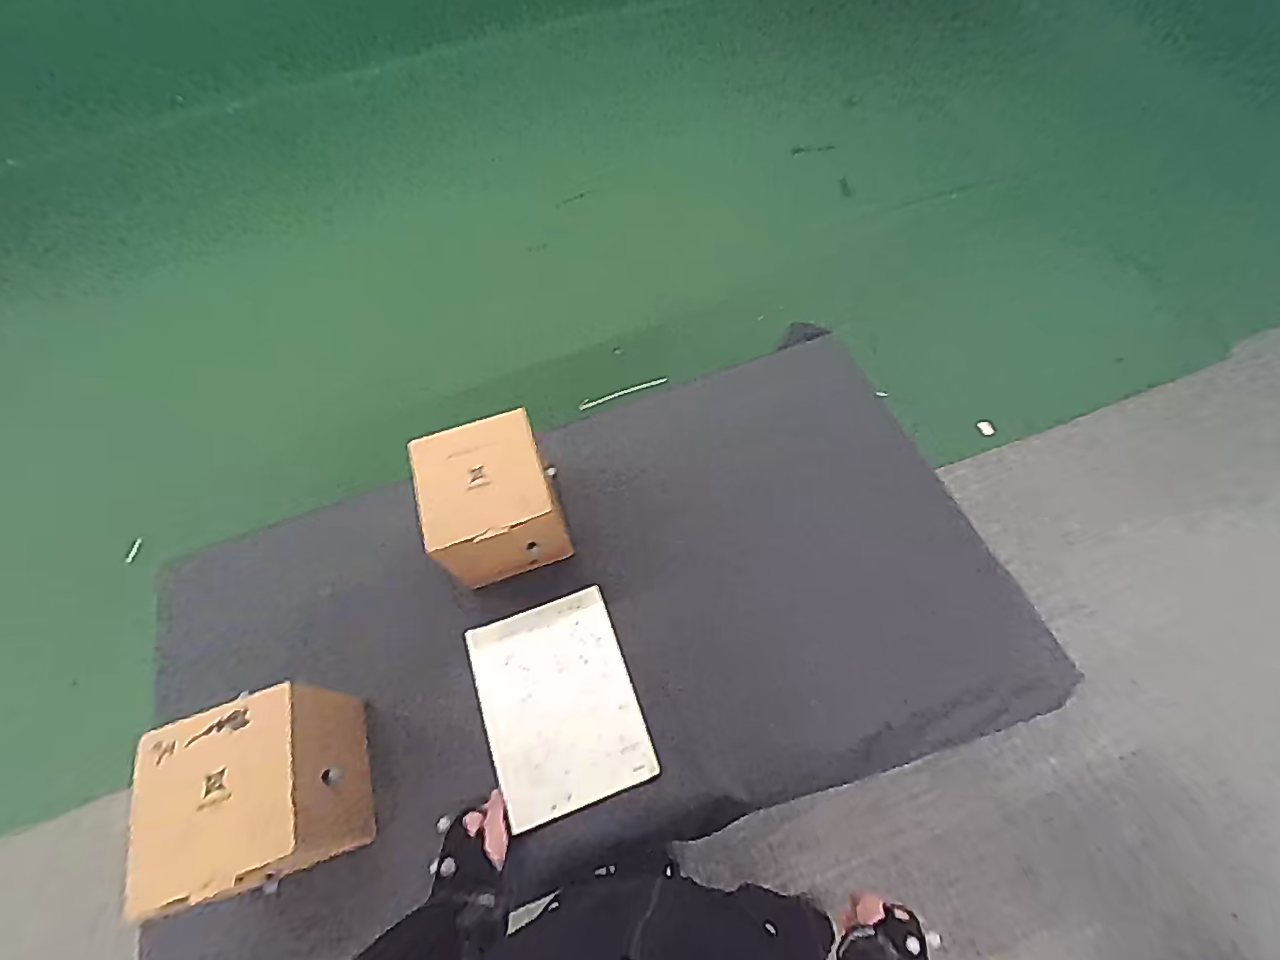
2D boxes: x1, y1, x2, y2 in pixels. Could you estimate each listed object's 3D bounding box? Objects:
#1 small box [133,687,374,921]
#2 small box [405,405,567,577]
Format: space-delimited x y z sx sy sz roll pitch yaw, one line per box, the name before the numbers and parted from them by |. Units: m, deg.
small box | -0.437 0.365 0.638 0.168 0.176 0.179 -19 63 -7
small box | -0.213 0.027 0.780 0.168 0.176 0.179 -19 64 -7
